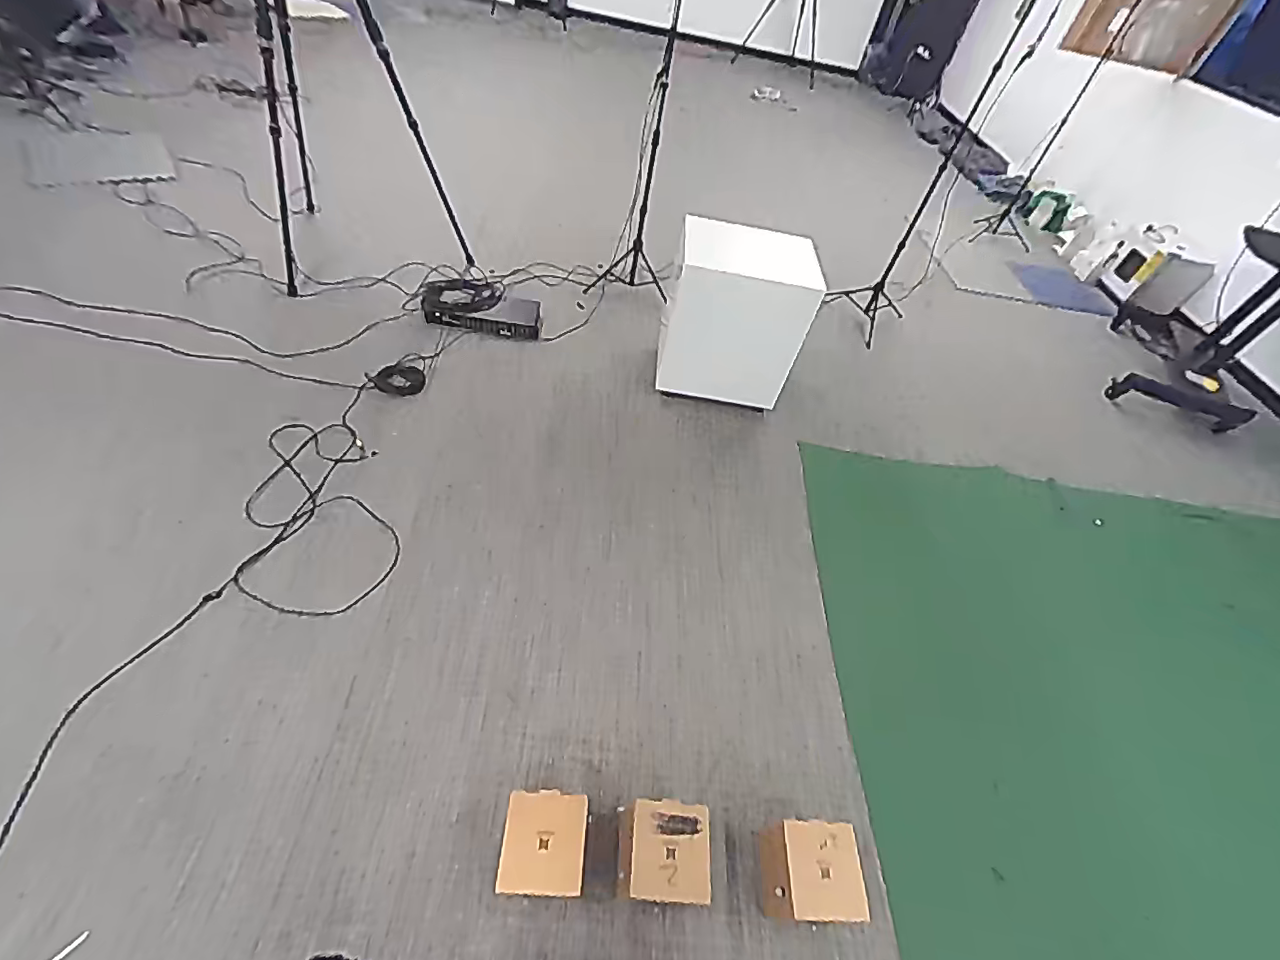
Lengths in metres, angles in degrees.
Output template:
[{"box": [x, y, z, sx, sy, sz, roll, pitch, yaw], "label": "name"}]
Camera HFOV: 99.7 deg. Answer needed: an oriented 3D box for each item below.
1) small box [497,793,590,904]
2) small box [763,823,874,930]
[{"box": [-0.199, 0.781, 1.141, 0.168, 0.176, 0.179, 7, 48, -6], "label": "small box"}, {"box": [0.382, 0.874, 1.189, 0.168, 0.176, 0.179, 8, 49, -6], "label": "small box"}]
